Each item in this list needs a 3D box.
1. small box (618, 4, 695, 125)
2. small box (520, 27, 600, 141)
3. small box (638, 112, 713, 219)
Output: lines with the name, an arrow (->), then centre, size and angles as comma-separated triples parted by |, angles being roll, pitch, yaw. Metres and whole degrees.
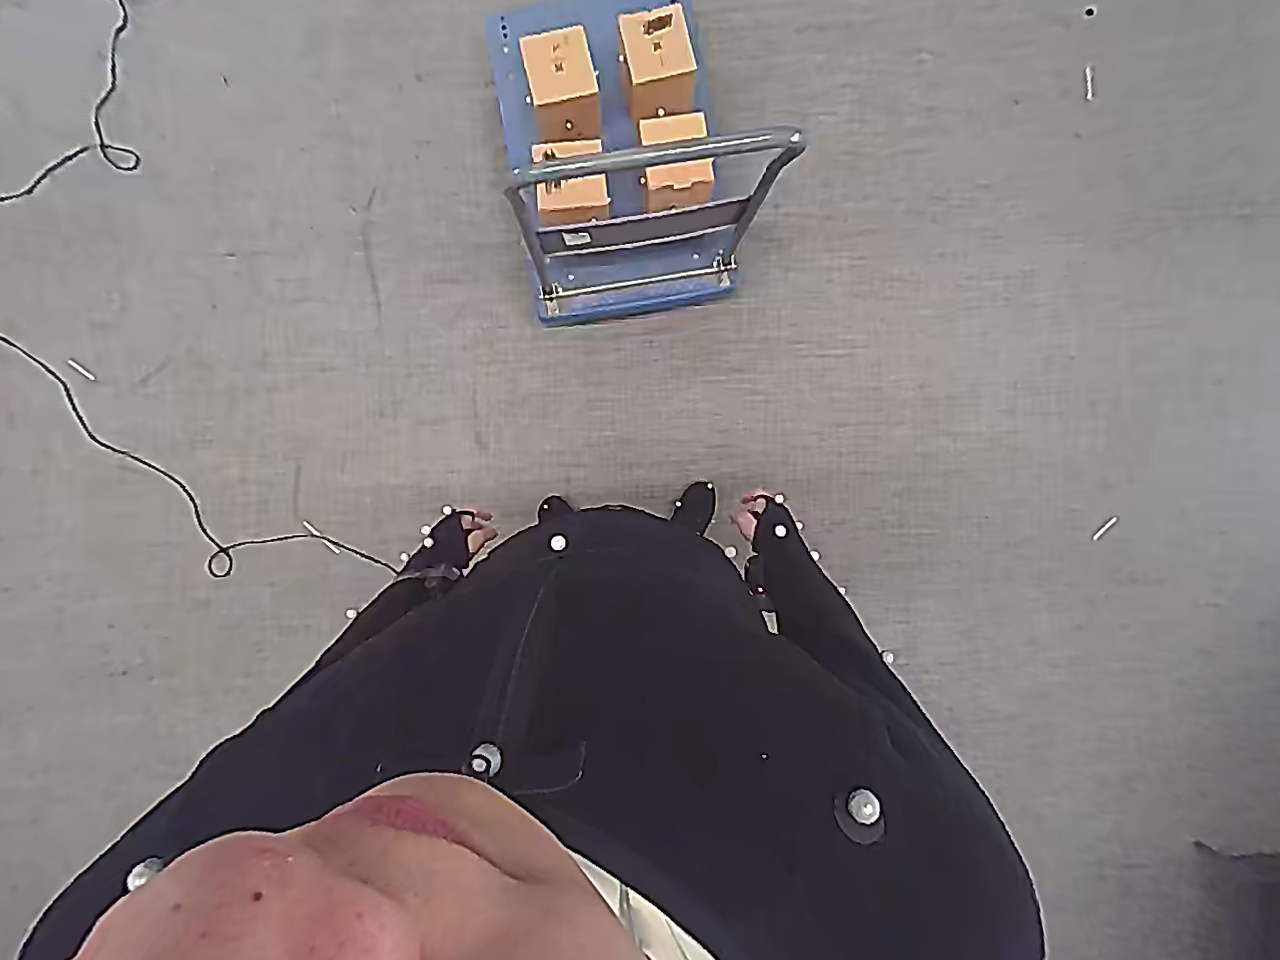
small box -> 0.040, -1.091, 1.432 | 0.168, 0.176, 0.179 | -13, 90, -1
small box -> -0.205, -1.029, 1.426 | 0.168, 0.176, 0.179 | -14, 89, -2
small box -> 0.088, -0.824, 1.430 | 0.168, 0.176, 0.179 | -9, 90, -2
